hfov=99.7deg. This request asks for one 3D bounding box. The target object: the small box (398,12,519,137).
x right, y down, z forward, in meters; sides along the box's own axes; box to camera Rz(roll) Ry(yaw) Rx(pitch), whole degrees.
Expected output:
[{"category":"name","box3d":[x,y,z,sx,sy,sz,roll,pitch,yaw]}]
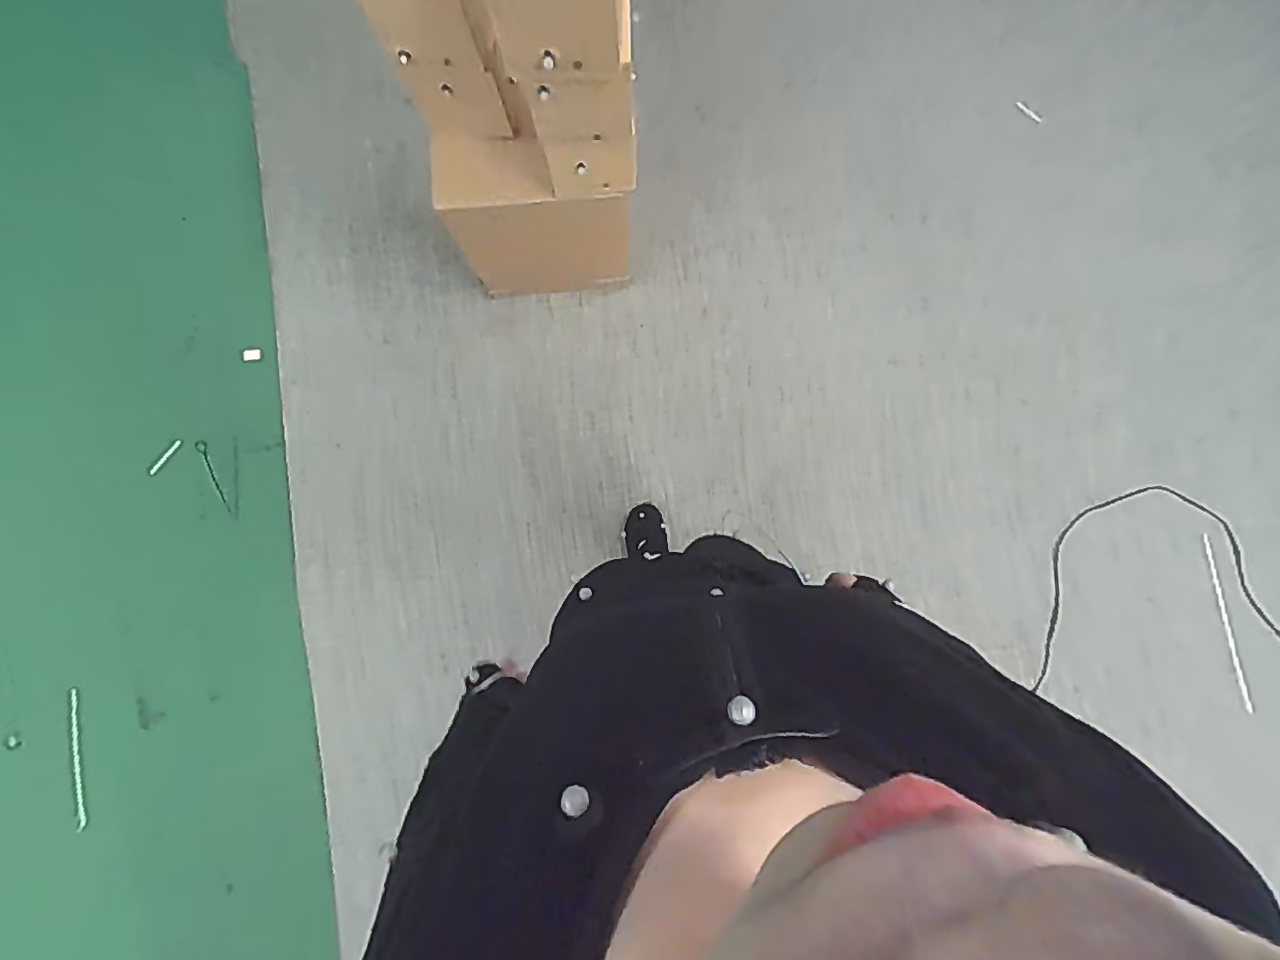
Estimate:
[{"category":"small box","box3d":[-0.343,-0.799,1.048,0.179,0.176,0.168,2,85,-1]}]

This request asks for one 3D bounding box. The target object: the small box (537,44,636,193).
[{"category":"small box","box3d":[-0.097,-0.677,1.036,0.168,0.176,0.179,-6,85,-1]}]

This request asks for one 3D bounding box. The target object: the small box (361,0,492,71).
[{"category":"small box","box3d":[-0.347,-0.816,0.885,0.168,0.176,0.179,4,84,0]}]

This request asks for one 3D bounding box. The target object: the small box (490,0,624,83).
[{"category":"small box","box3d":[-0.108,-0.669,0.707,0.168,0.176,0.179,1,86,1]}]
